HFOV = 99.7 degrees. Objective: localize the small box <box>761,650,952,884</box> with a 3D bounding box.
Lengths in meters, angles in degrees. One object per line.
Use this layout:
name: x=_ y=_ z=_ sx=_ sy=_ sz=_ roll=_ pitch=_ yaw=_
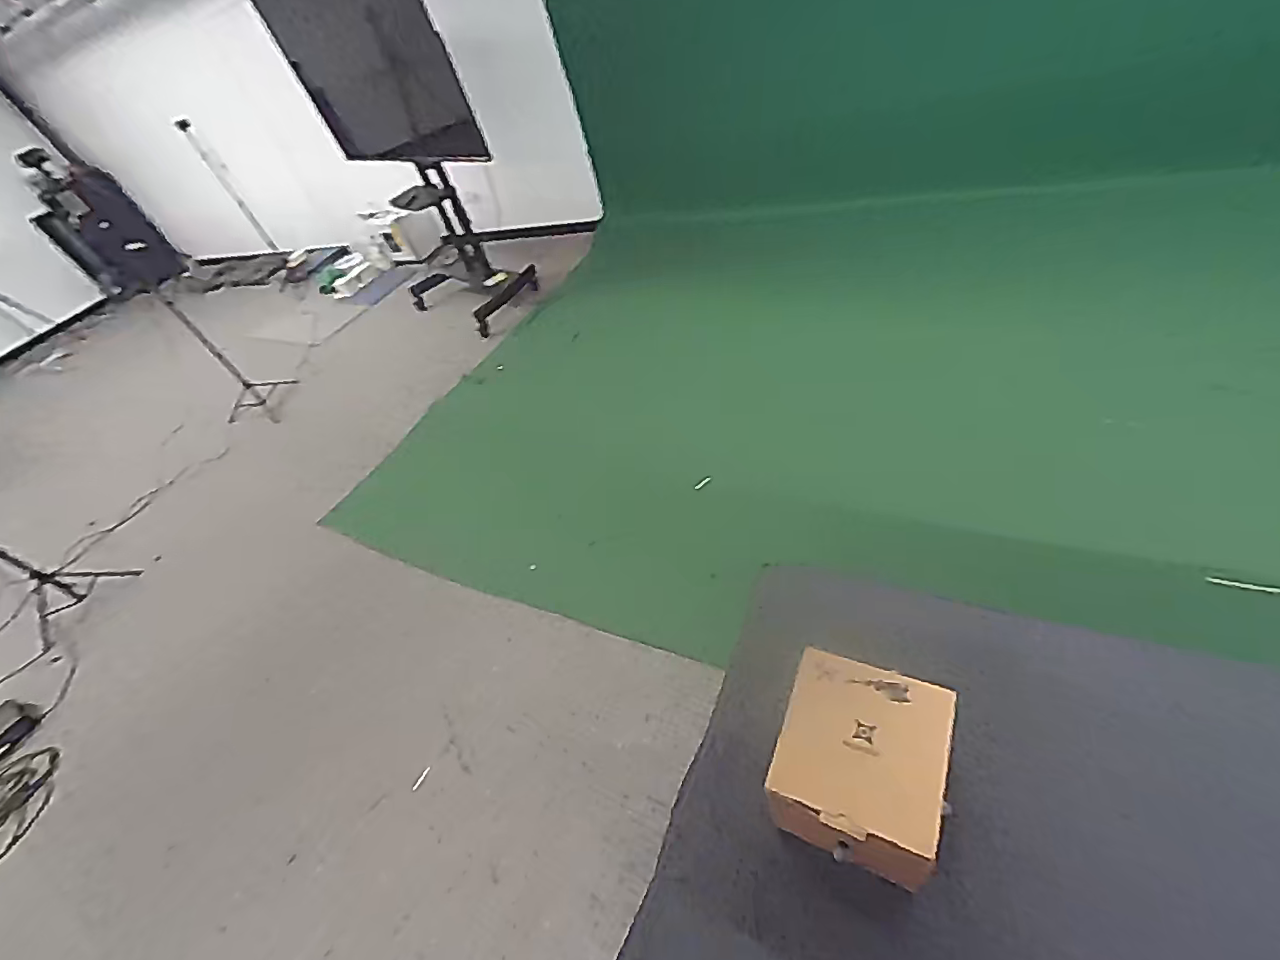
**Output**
small box: x=0.257 y=0.340 z=0.643 sx=0.168 sy=0.176 sz=0.179 roll=11 pitch=52 yaw=28
